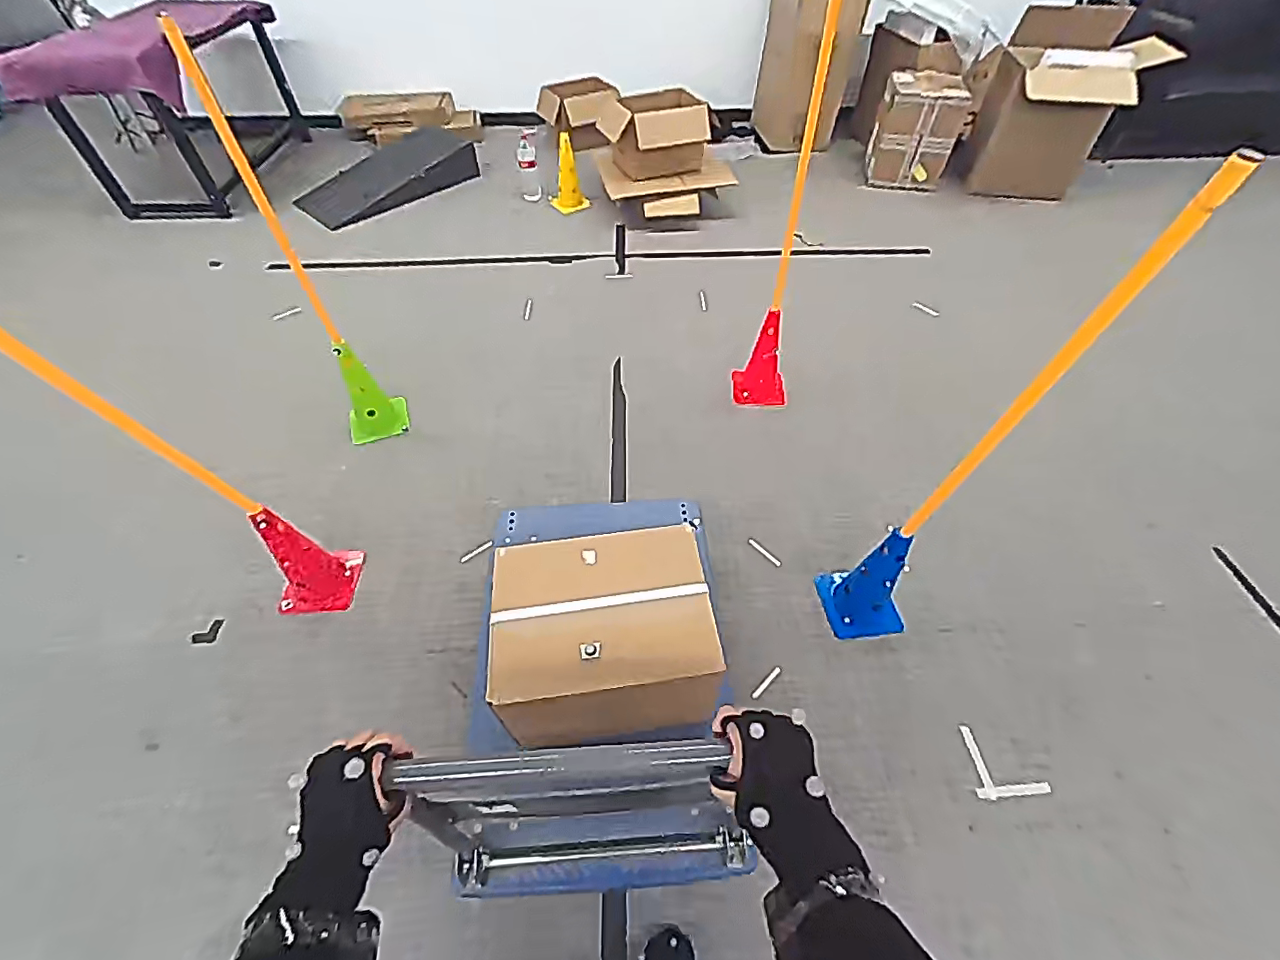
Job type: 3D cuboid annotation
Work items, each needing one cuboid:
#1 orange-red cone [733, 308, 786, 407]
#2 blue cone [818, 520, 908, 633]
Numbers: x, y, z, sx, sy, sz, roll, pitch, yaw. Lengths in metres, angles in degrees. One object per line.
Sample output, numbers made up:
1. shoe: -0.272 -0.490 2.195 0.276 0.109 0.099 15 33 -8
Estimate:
1. orange-red cone: 0.466 -0.465 1.976 0.199 0.360 0.198 4 51 2
2. blue cone: 0.623 0.238 1.418 0.193 0.380 0.192 -5 50 -4
